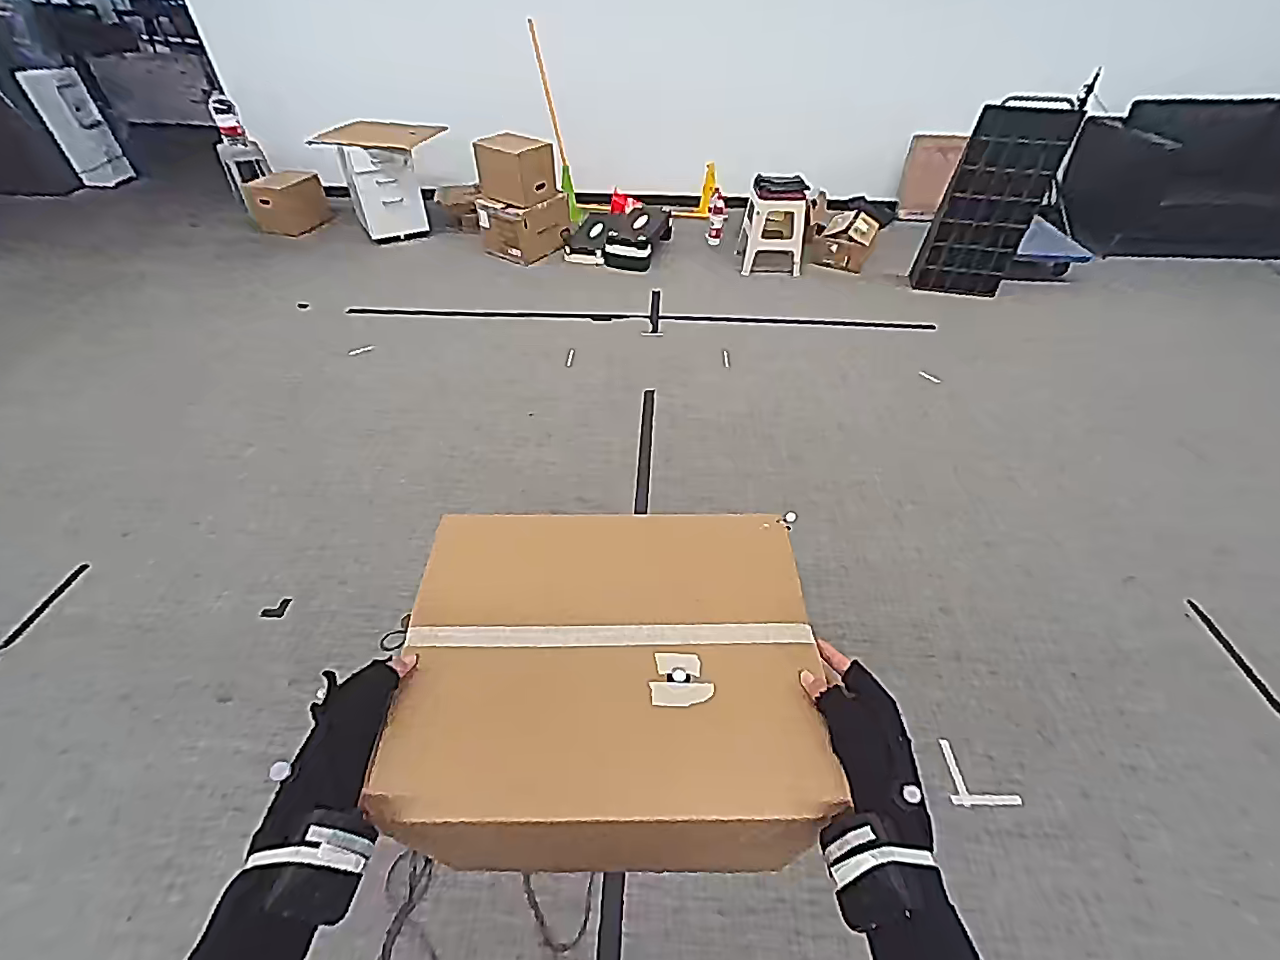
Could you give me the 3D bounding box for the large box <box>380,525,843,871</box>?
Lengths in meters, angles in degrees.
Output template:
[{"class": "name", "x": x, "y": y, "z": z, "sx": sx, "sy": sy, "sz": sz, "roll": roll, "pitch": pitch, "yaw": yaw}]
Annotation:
[{"class": "large box", "x": -0.028, "y": 0.268, "z": 0.665, "sx": 0.408, "sy": 0.320, "sz": 0.320, "roll": 1, "pitch": 49, "yaw": -1}]
